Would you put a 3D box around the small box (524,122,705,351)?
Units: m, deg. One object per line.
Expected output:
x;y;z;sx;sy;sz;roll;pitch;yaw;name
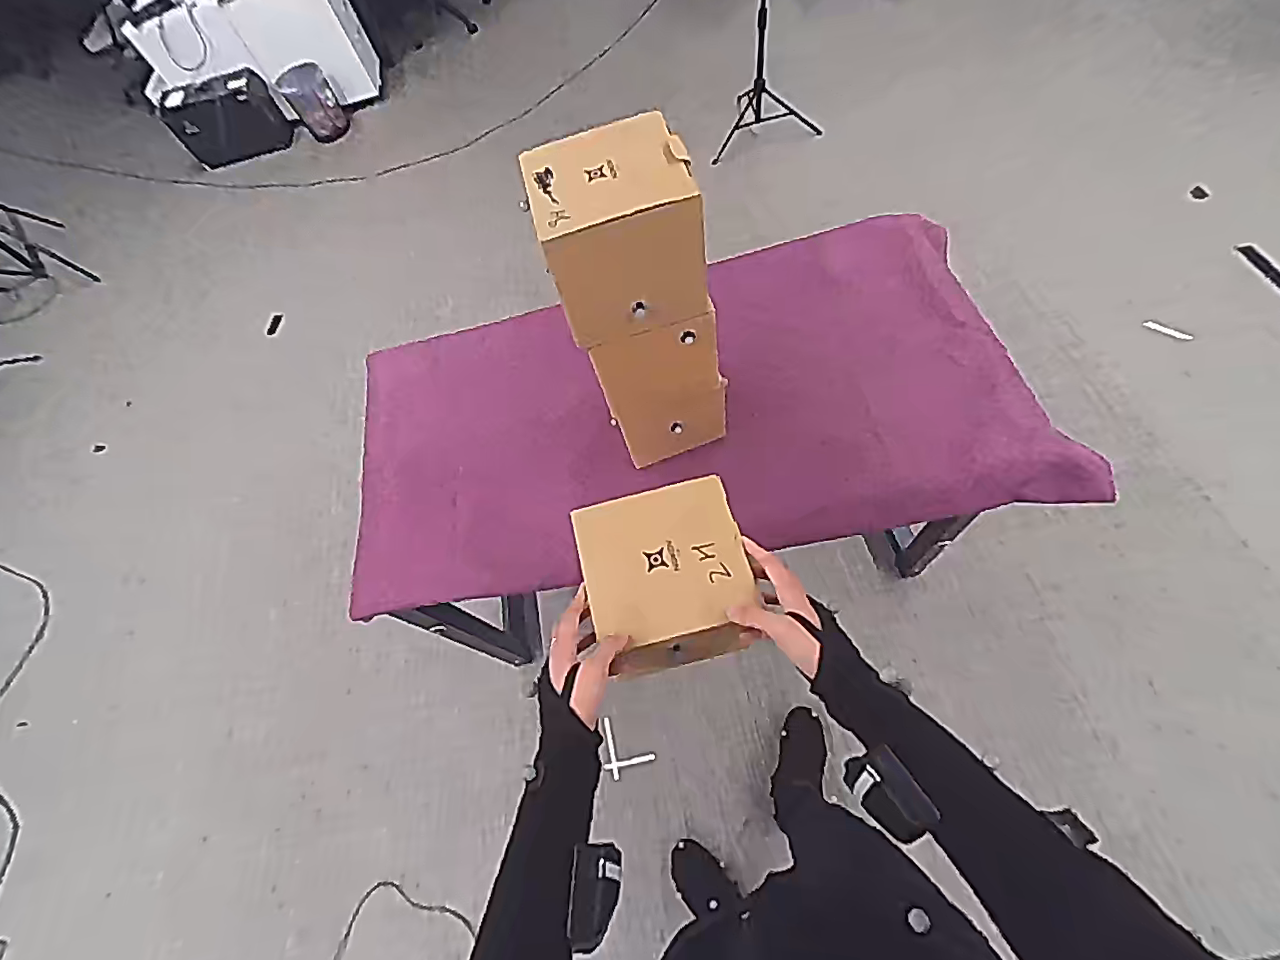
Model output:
-0.025;-0.288;0.660;0.179;0.176;0.168;-15;60;1;small box

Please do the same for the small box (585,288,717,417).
0.008;-0.217;0.805;0.179;0.176;0.168;-16;61;1;small box

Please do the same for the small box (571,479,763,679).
0.029;0.125;0.643;0.179;0.176;0.168;-13;62;-4;small box
